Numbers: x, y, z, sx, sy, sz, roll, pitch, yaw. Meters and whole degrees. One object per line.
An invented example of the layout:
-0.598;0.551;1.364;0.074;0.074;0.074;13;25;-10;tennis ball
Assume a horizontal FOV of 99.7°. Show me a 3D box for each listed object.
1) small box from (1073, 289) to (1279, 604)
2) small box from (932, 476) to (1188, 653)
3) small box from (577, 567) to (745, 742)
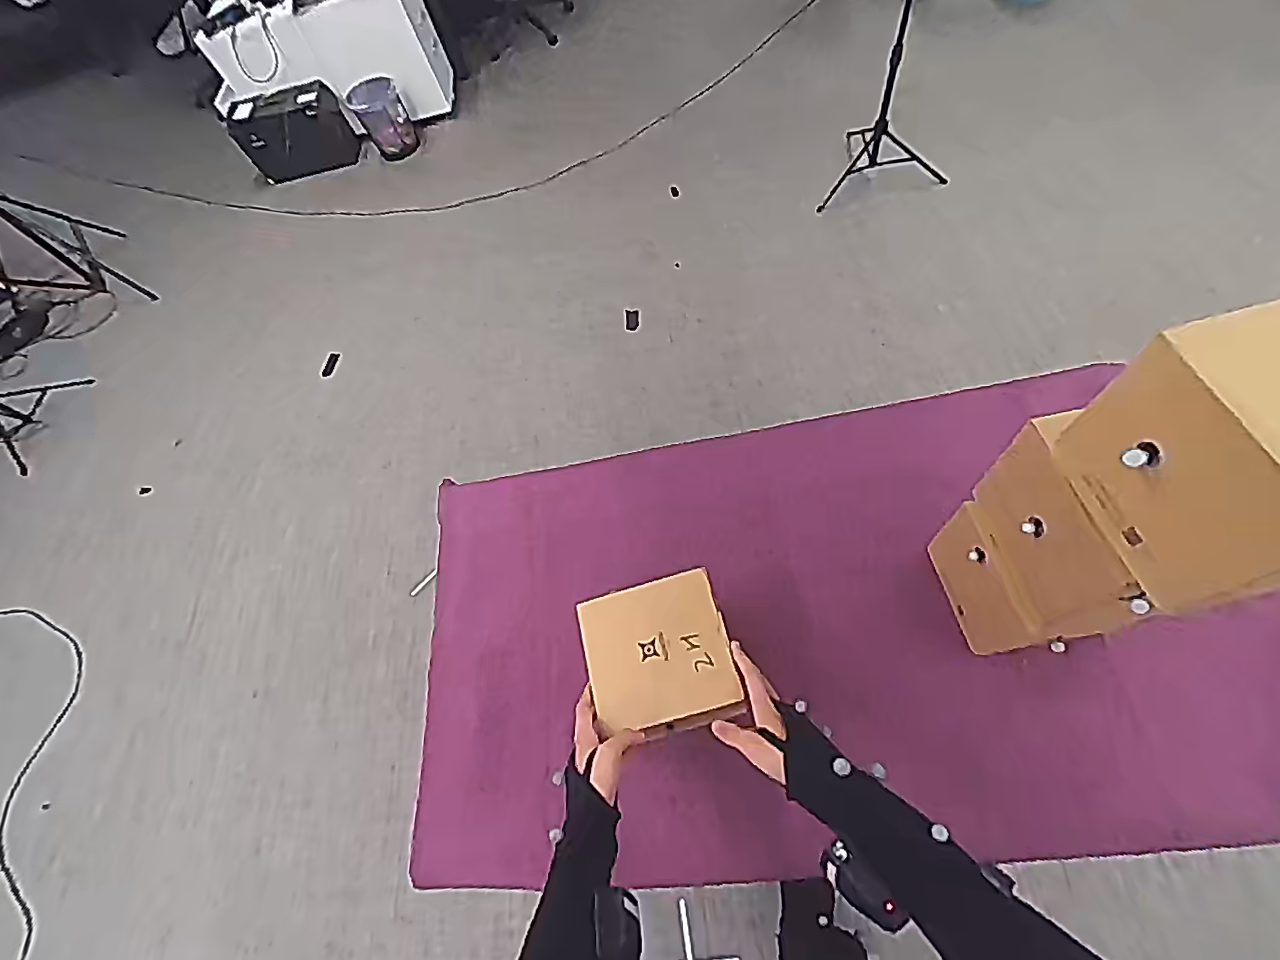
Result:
0.468;-0.023;0.392;0.179;0.176;0.168;-15;61;3;small box
0.512;0.111;0.689;0.179;0.176;0.168;-12;61;4;small box
0.033;0.238;0.715;0.179;0.176;0.168;-16;61;2;small box
